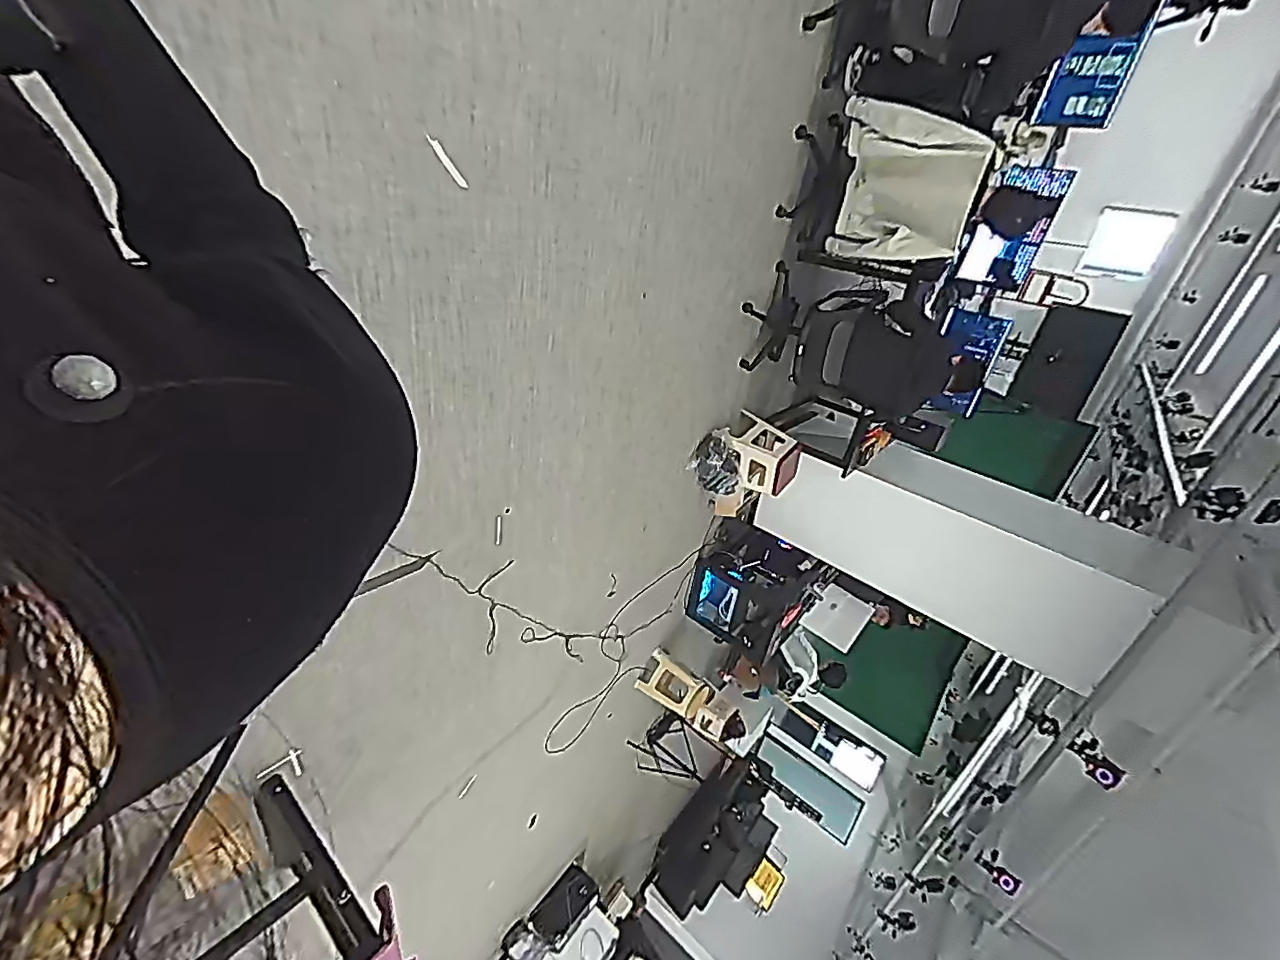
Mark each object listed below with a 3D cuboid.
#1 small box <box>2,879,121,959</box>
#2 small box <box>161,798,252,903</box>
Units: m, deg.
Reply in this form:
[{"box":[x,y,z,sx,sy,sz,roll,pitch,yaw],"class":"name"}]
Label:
[{"box":[-1.536,1.223,1.438,0.168,0.176,0.179,-26,133,-46],"class":"small box"},{"box":[-1.339,1.138,1.672,0.168,0.176,0.179,-24,133,-47],"class":"small box"}]
